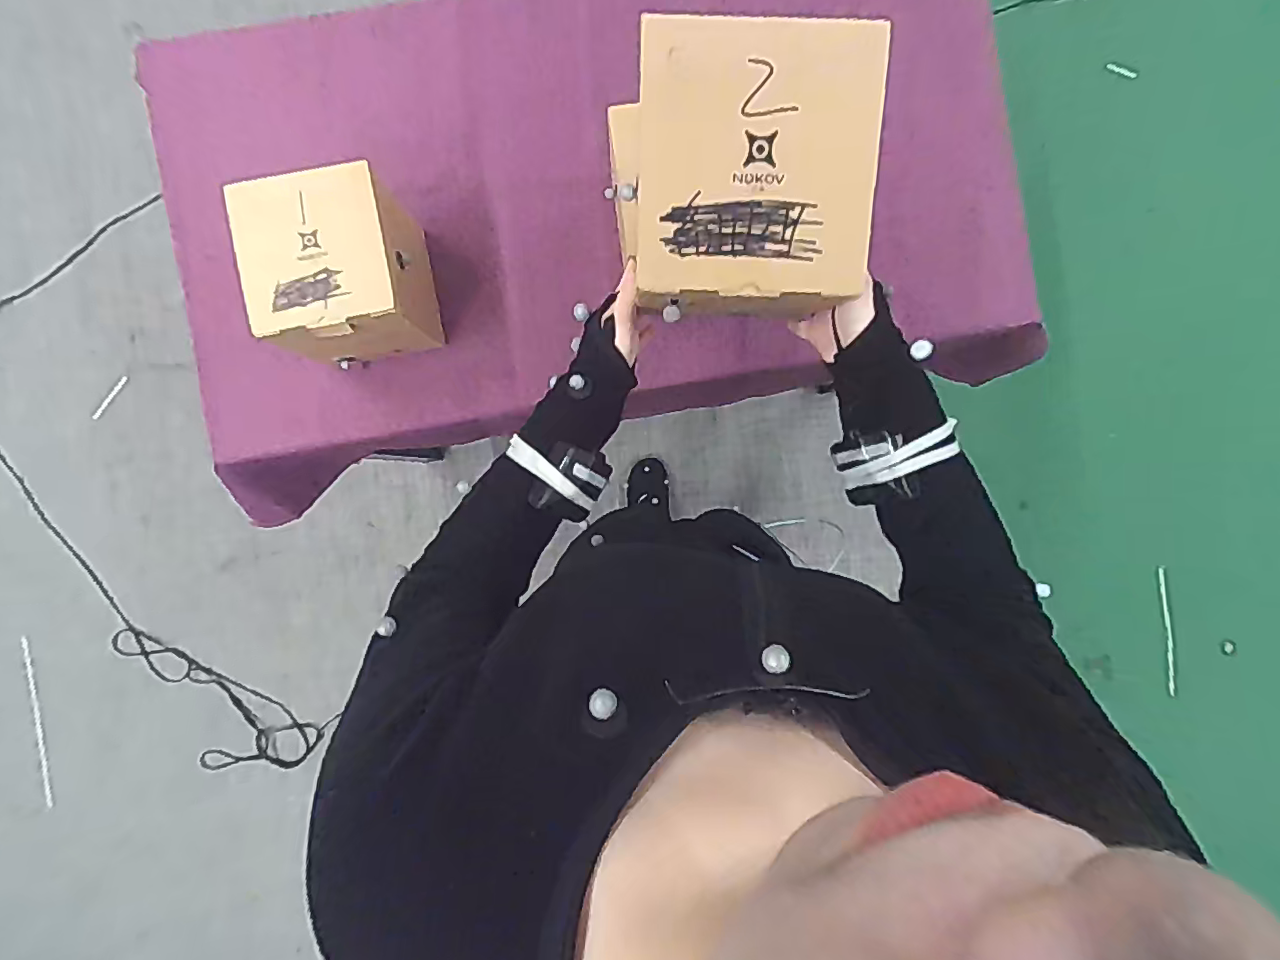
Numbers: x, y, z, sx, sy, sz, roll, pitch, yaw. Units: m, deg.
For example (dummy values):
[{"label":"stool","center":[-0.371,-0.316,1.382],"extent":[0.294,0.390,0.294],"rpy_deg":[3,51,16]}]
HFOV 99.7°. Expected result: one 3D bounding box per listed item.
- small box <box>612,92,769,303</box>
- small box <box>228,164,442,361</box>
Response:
[{"label":"small box","center":[0.055,-0.347,0.693],"extent":[0.168,0.176,0.179],"rpy_deg":[-7,91,0]},{"label":"small box","center":[-0.370,-0.258,0.689],"extent":[0.168,0.176,0.179],"rpy_deg":[-11,89,-1]}]
